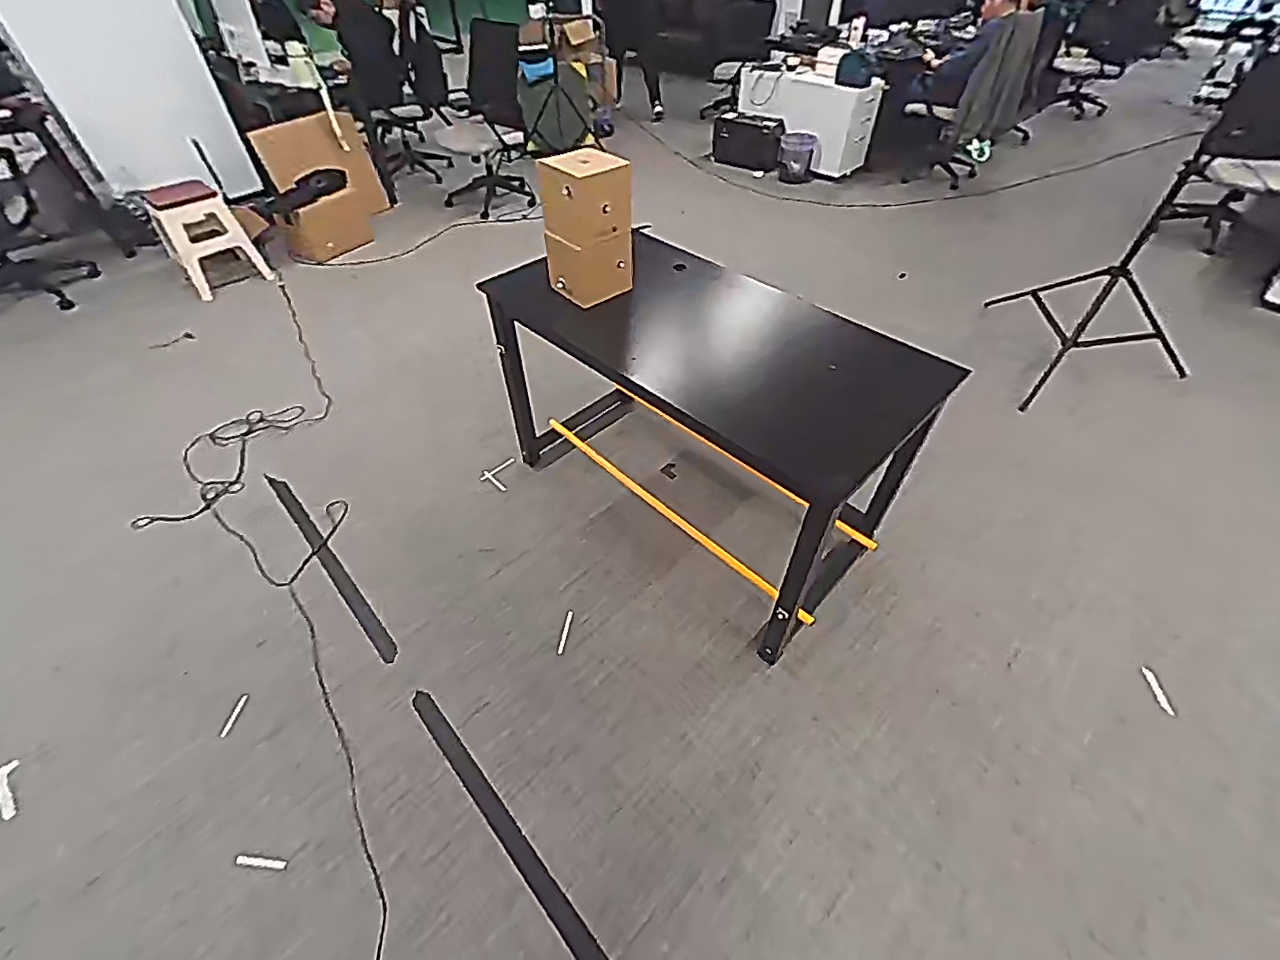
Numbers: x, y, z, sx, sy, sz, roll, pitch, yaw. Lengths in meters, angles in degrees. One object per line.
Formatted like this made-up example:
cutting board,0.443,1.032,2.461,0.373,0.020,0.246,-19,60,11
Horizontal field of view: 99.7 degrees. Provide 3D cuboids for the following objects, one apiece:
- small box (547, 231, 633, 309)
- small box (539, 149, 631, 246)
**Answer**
small box,-0.137,-0.606,1.509,0.179,0.176,0.168,-34,54,-26
small box,-0.136,-0.725,1.394,0.168,0.176,0.179,-33,54,-28
